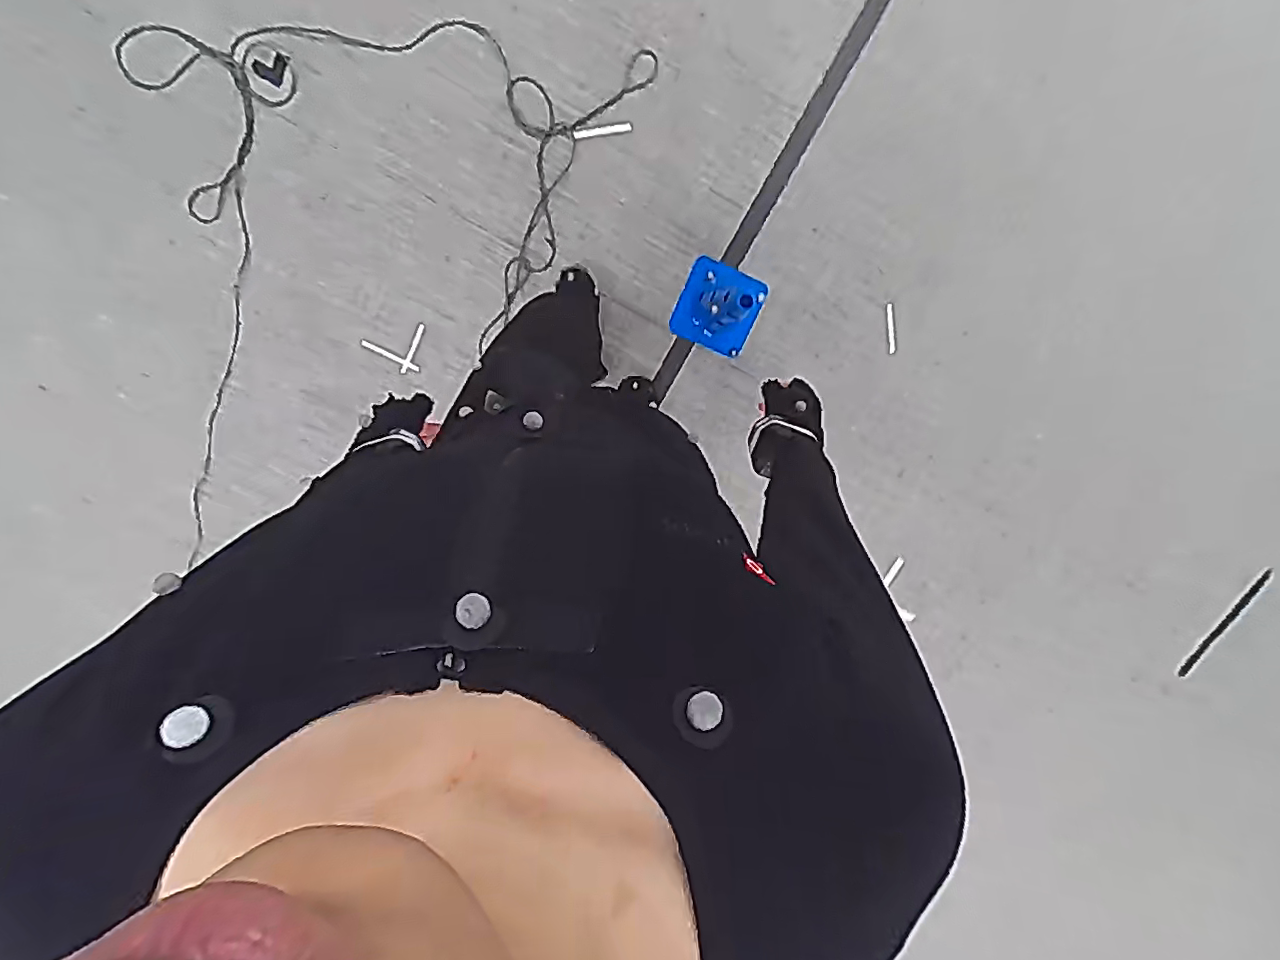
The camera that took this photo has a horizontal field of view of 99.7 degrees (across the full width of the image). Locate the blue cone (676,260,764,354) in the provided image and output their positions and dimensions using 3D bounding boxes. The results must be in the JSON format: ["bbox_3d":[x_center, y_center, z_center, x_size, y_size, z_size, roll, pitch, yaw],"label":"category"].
[{"bbox_3d":[0.205,-0.391,1.207,0.192,0.380,0.193,24,104,-8],"label":"blue cone"}]
